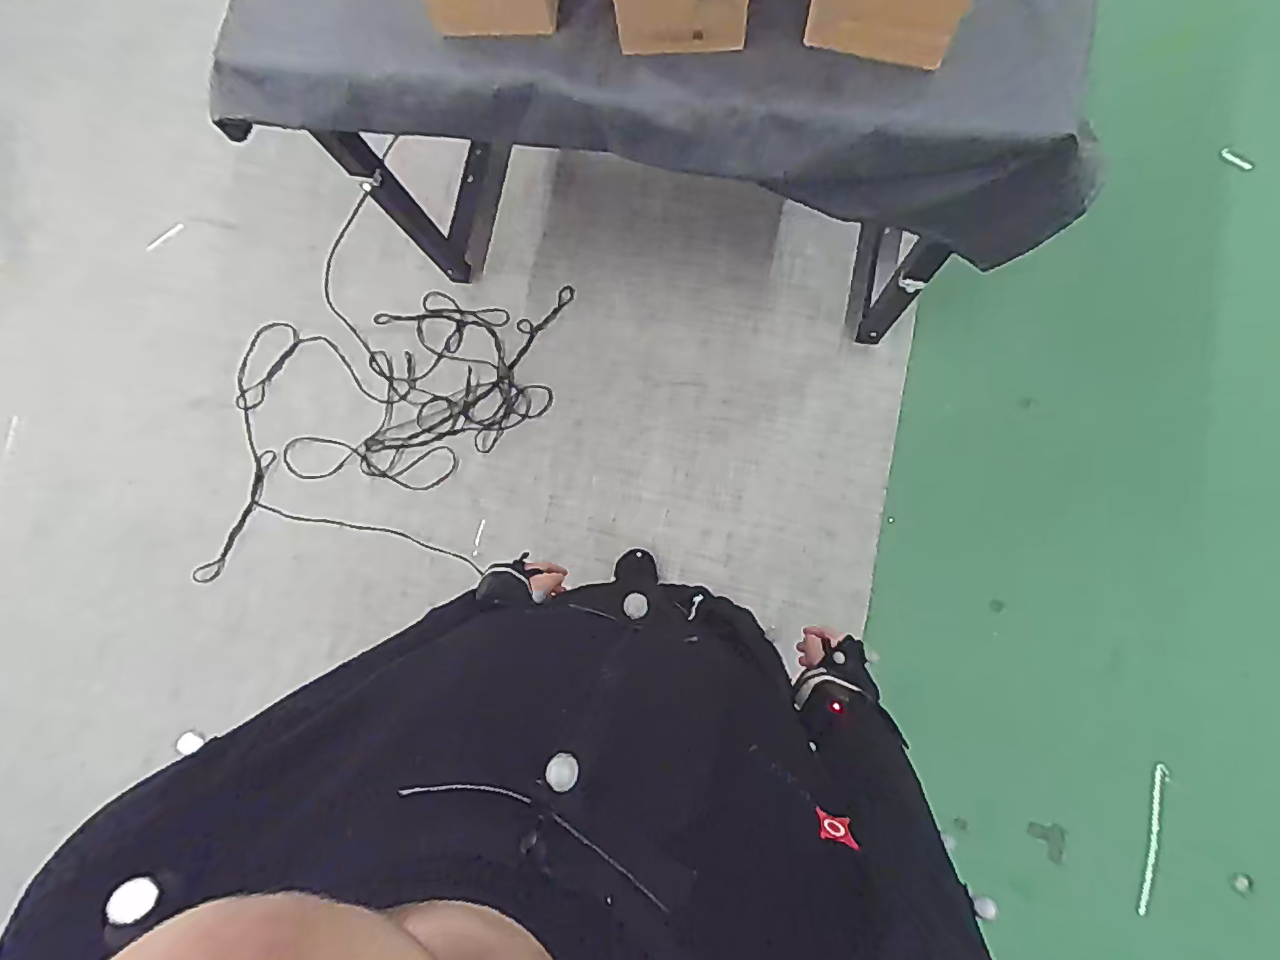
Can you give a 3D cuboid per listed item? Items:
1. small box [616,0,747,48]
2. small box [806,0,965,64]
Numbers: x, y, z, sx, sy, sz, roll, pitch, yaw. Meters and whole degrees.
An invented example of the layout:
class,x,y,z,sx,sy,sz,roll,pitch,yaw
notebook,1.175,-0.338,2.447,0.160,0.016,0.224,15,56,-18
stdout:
class,x,y,z,sx,sy,sz,roll,pitch,yaw
small box,0.054,-0.671,0.660,0.168,0.176,0.179,3,82,6
small box,0.309,-0.633,0.626,0.179,0.176,0.168,18,85,8
